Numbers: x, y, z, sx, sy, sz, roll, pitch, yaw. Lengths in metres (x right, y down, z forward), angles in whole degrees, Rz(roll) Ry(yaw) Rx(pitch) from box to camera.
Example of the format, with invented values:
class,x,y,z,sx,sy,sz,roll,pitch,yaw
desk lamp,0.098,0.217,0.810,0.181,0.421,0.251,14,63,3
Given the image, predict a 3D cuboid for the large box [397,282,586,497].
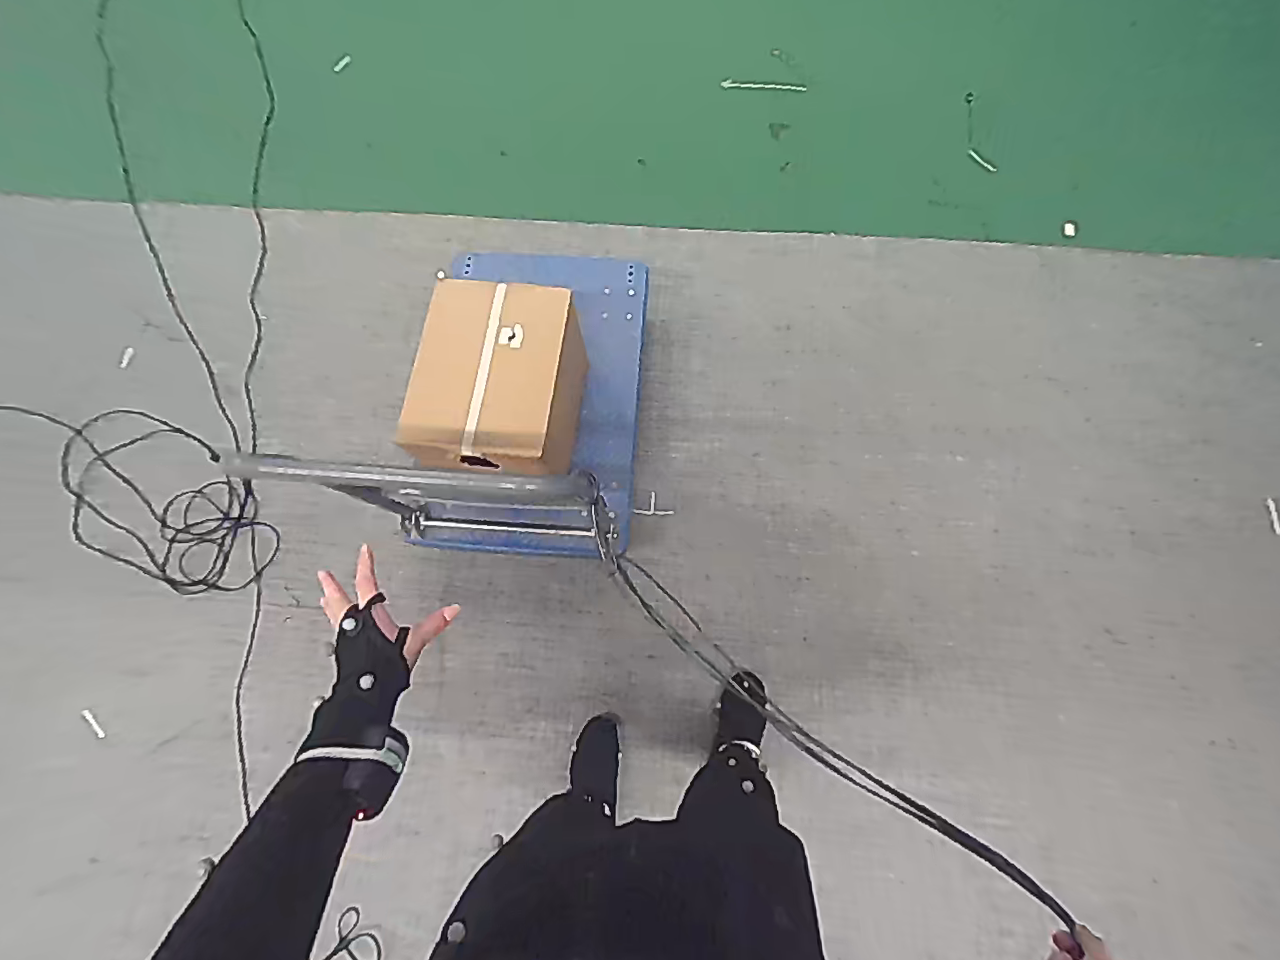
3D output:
class,x,y,z,sx,sy,sz,roll,pitch,yaw
large box,-0.321,-0.198,1.289,0.320,0.320,0.408,7,73,3
